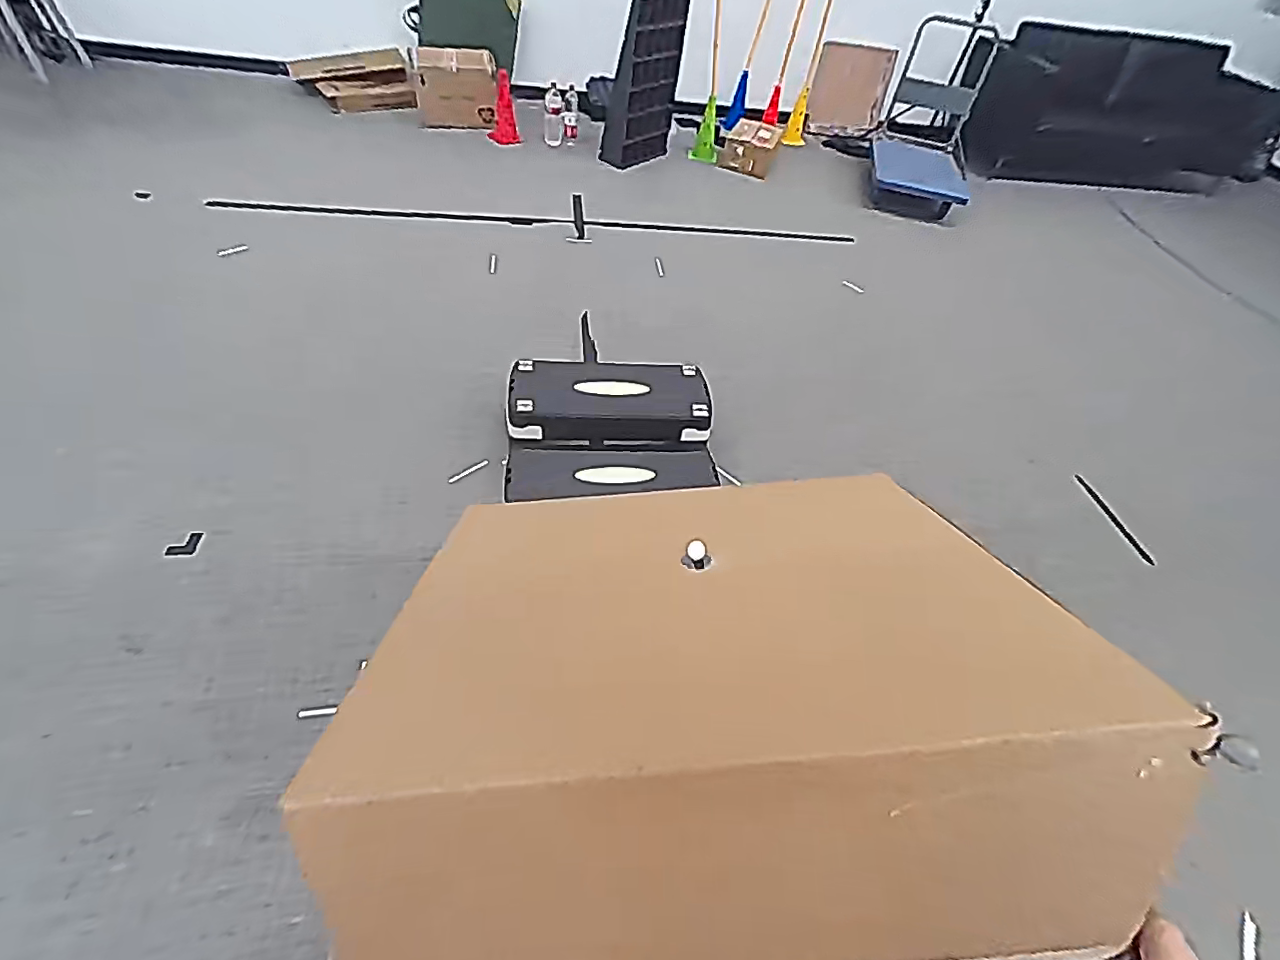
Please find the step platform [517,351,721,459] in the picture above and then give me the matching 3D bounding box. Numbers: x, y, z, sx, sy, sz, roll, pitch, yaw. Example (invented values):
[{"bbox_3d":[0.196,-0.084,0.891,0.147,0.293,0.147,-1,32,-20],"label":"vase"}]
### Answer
[{"bbox_3d":[-0.069,-0.256,1.844,0.684,0.204,0.286,5,50,-7],"label":"step platform"}]
